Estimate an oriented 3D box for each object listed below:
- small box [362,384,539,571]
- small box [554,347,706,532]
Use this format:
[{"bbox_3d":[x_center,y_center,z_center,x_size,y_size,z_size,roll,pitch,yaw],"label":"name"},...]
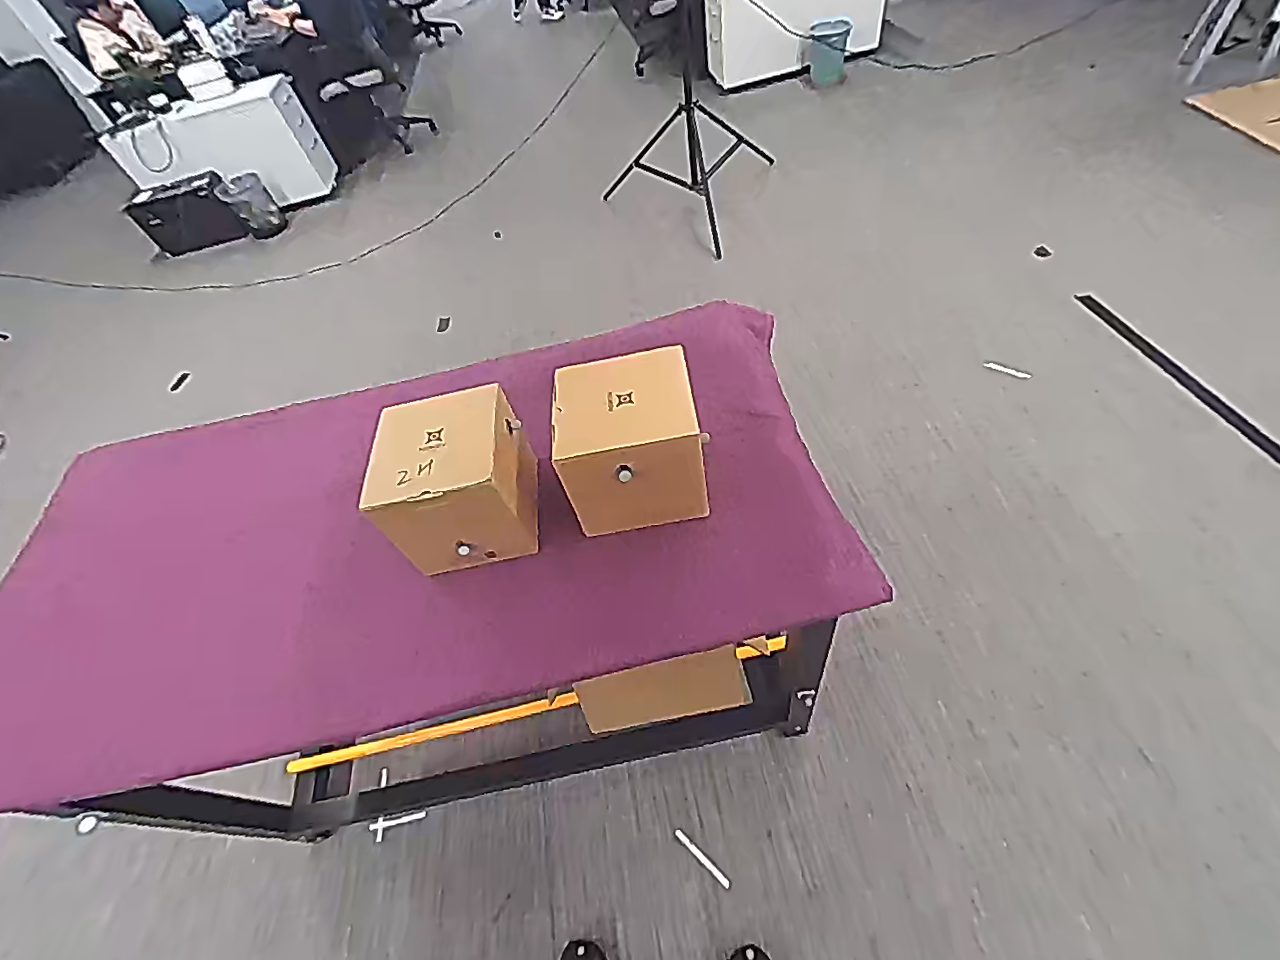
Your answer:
[{"bbox_3d":[-0.243,0.000,0.744,0.168,0.176,0.179,-12,51,4],"label":"small box"},{"bbox_3d":[-0.008,-0.049,0.733,0.179,0.176,0.168,-10,50,5],"label":"small box"}]
